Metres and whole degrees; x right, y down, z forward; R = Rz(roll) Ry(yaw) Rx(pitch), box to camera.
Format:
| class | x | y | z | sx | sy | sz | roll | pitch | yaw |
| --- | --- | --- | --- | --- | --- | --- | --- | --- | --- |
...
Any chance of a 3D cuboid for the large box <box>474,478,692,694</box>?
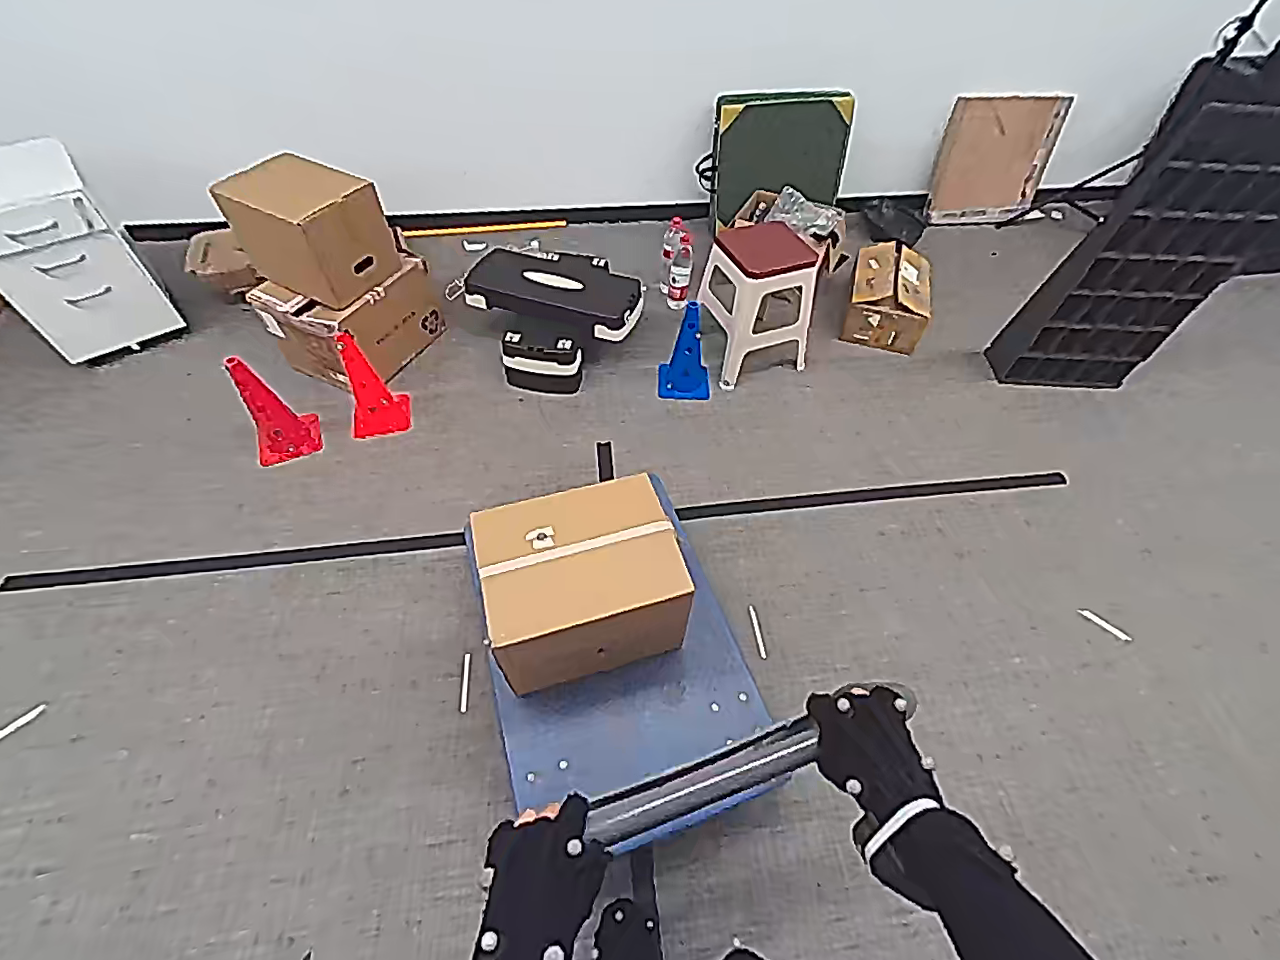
| class | x | y | z | sx | sy | sz | roll | pitch | yaw |
| --- | --- | --- | --- | --- | --- | --- | --- | --- | --- |
| large box | -0.129 | 0.247 | 1.247 | 0.408 | 0.320 | 0.320 | -14 | 54 | -11 |
